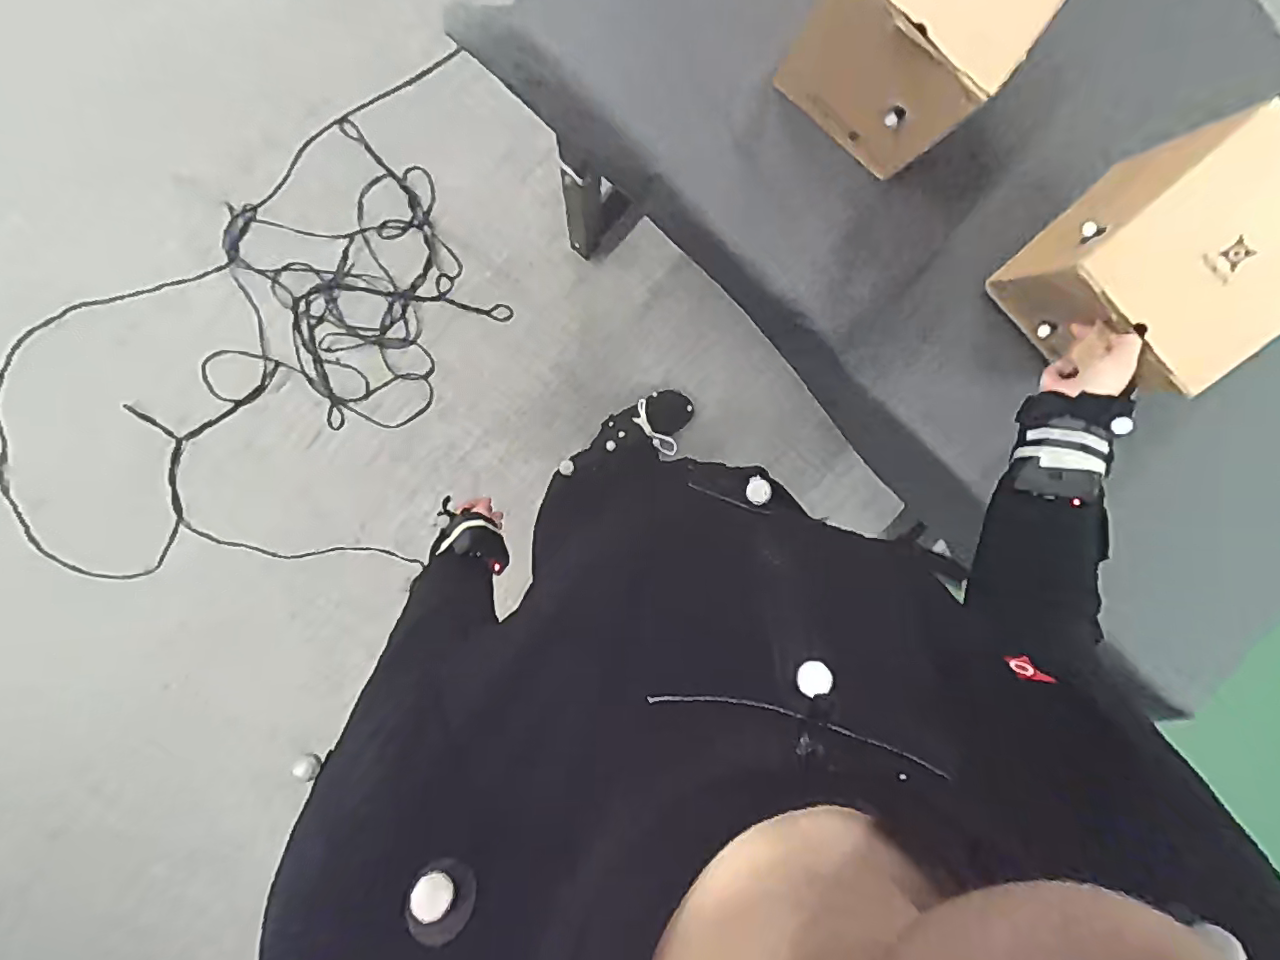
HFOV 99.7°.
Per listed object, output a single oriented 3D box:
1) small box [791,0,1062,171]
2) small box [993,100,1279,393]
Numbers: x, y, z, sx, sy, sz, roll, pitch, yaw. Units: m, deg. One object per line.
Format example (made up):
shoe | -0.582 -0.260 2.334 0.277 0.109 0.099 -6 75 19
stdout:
small box | 0.269 -0.444 0.516 0.168 0.176 0.179 35 91 -10
small box | 0.507 -0.212 0.535 0.168 0.176 0.179 44 105 -6
